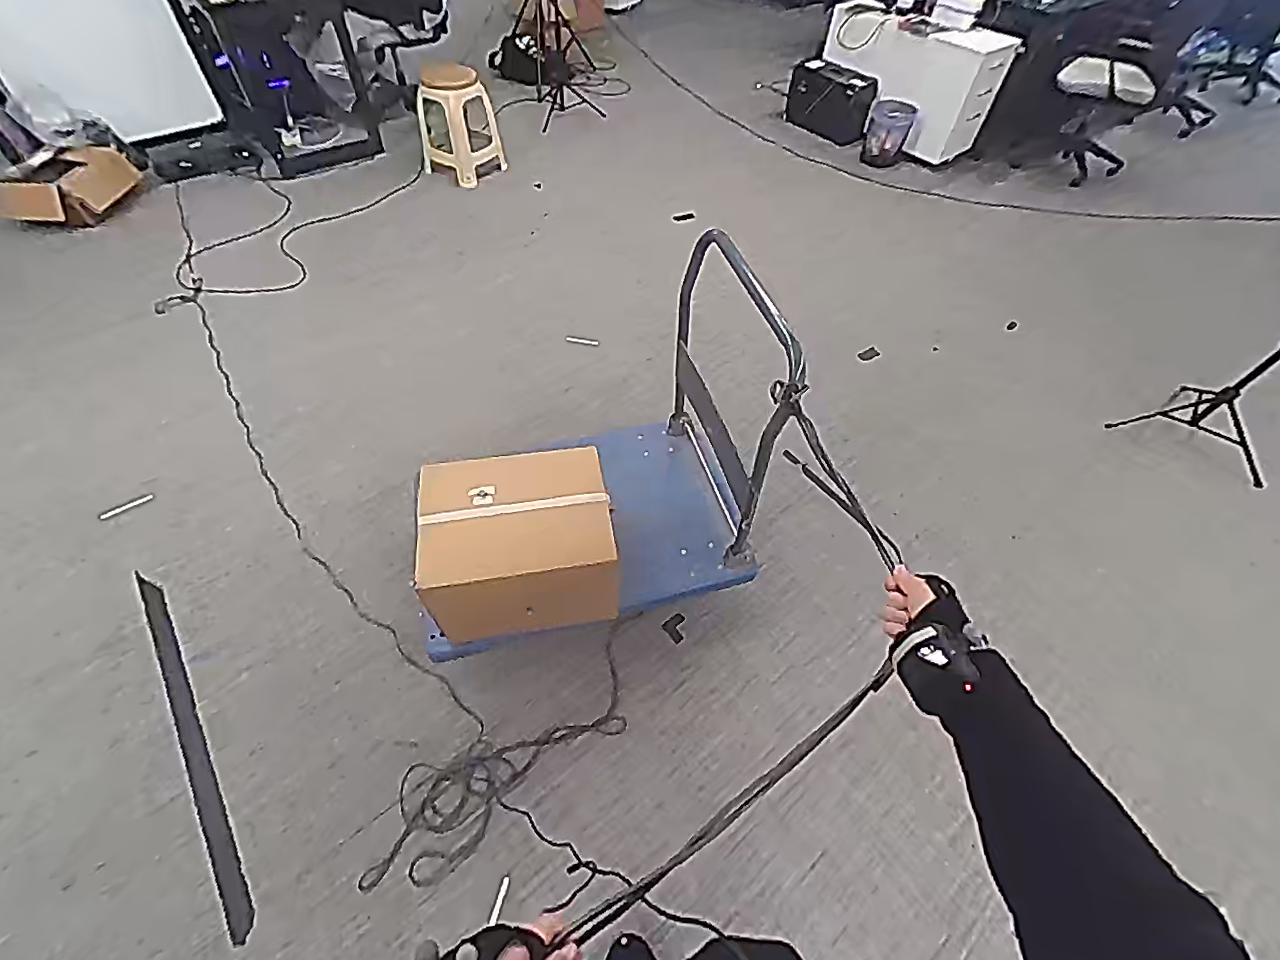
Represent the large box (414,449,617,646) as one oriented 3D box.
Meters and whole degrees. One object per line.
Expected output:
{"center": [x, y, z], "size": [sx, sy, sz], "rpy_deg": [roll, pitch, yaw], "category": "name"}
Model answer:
{"center": [-0.277, 0.163, 1.279], "size": [0.408, 0.320, 0.320], "rpy_deg": [-8, 54, -8], "category": "large box"}
